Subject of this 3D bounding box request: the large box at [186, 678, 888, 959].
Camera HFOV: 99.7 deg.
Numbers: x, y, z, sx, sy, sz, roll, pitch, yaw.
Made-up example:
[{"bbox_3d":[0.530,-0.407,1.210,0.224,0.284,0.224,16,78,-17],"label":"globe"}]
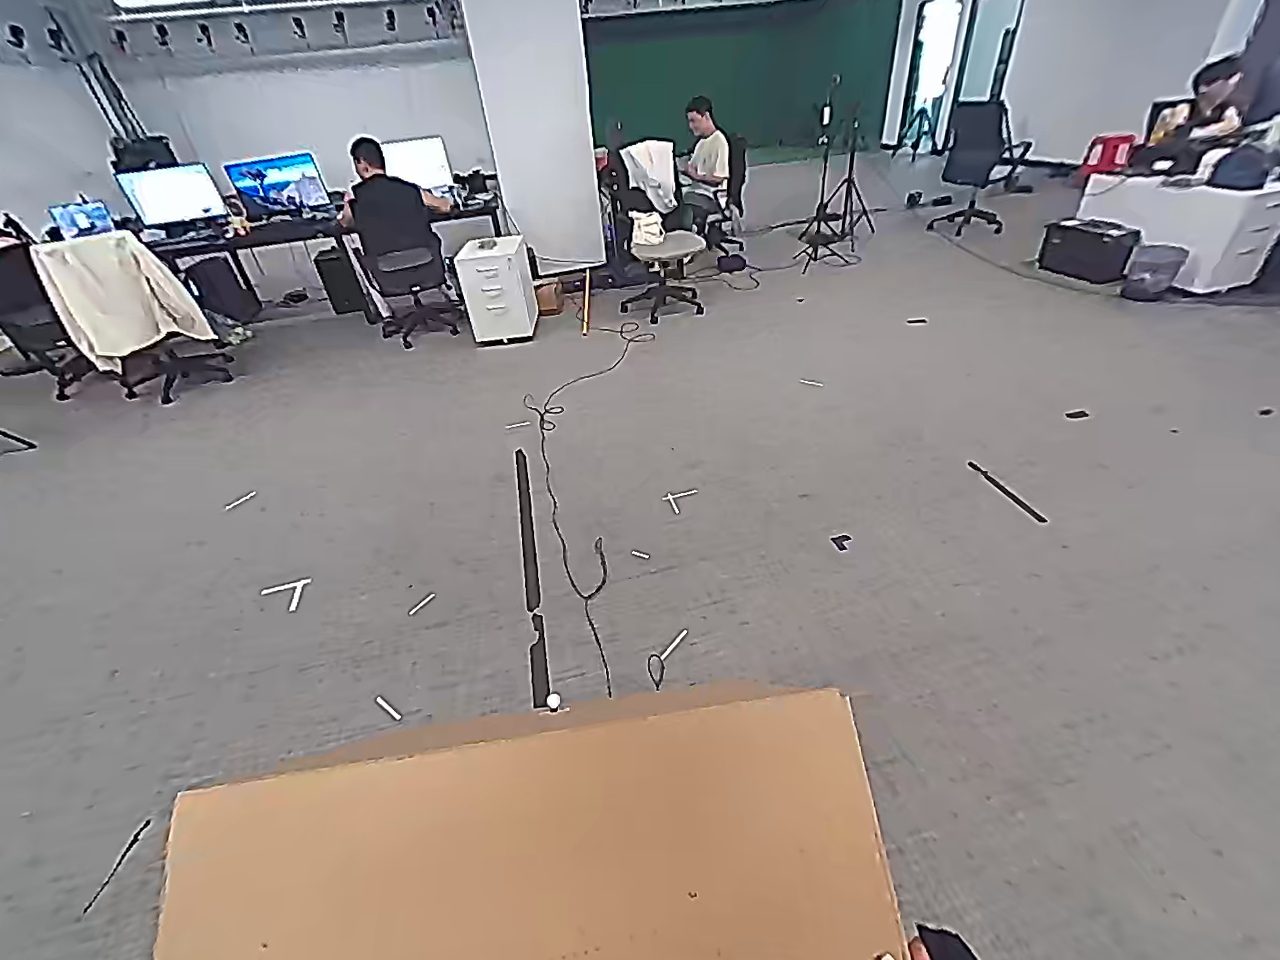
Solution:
[{"bbox_3d":[-0.052,0.360,0.439,0.408,0.320,0.320,-8,71,-4],"label":"large box"}]
